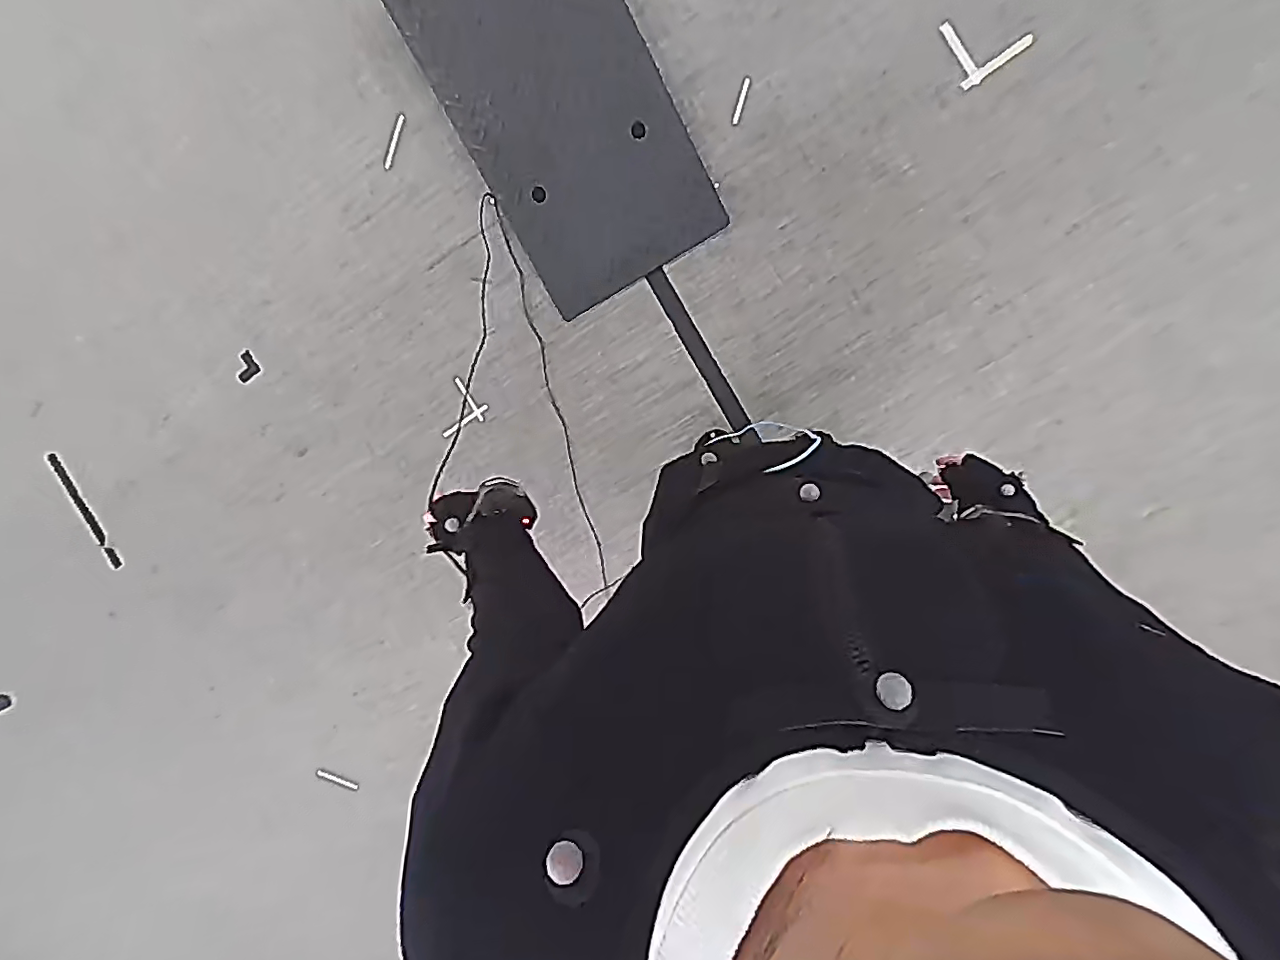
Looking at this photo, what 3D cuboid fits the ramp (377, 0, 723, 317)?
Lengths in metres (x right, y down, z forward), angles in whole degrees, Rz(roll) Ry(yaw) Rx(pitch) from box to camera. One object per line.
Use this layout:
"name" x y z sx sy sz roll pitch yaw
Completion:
"ramp" -0.237 -0.956 1.283 0.509 0.206 0.991 -30 93 8
